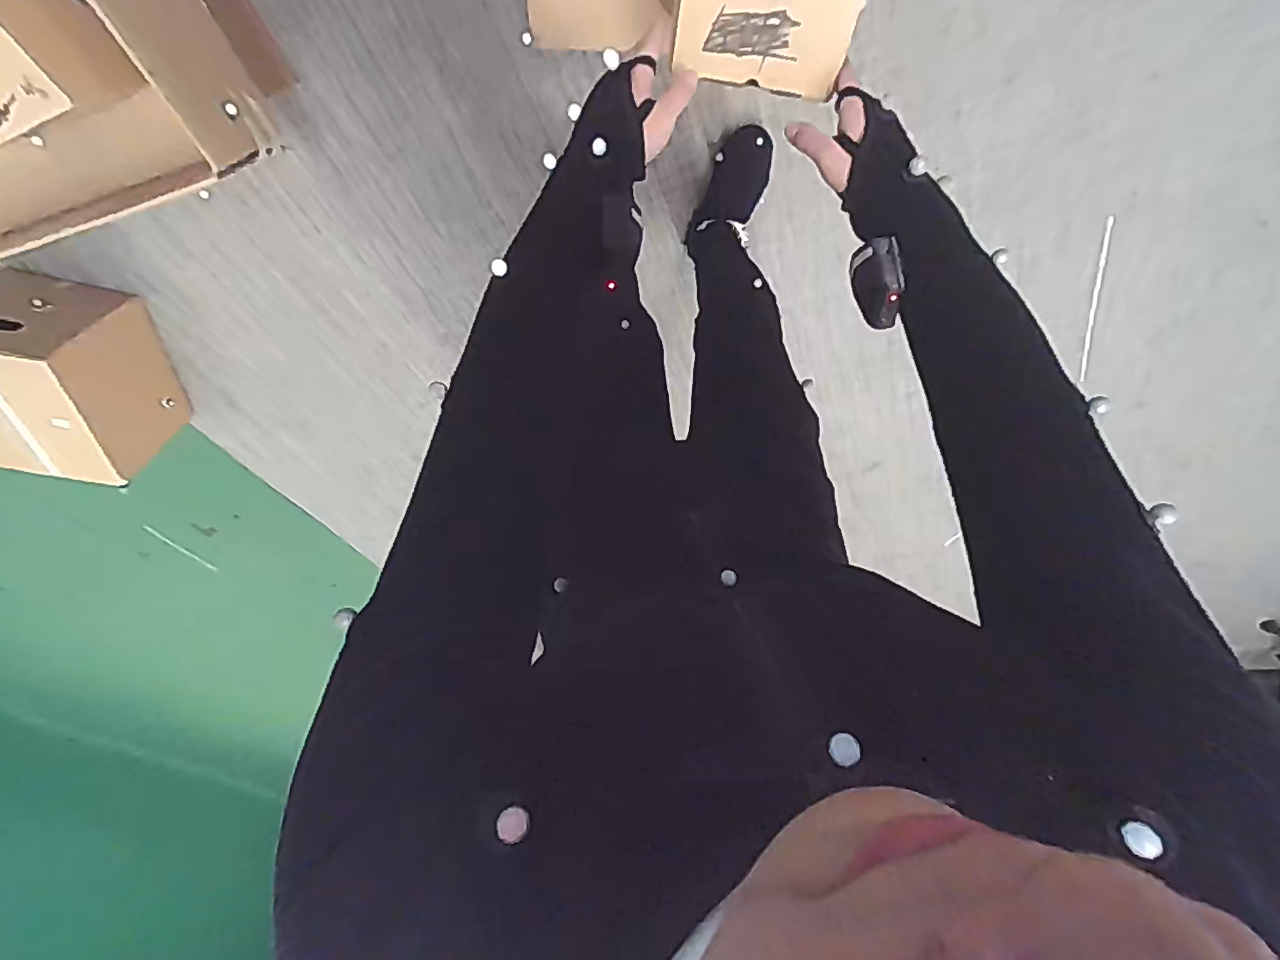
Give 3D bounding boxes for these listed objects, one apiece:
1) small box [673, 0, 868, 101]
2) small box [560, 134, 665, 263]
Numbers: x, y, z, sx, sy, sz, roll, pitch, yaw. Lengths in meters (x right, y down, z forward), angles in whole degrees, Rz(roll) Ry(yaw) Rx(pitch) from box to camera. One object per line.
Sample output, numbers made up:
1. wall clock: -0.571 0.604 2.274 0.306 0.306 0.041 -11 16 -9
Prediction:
1. small box: 0.129 -0.504 0.526 0.168 0.176 0.179 7 136 -5
2. small box: -0.055 -0.605 1.156 0.168 0.176 0.179 22 128 -12
